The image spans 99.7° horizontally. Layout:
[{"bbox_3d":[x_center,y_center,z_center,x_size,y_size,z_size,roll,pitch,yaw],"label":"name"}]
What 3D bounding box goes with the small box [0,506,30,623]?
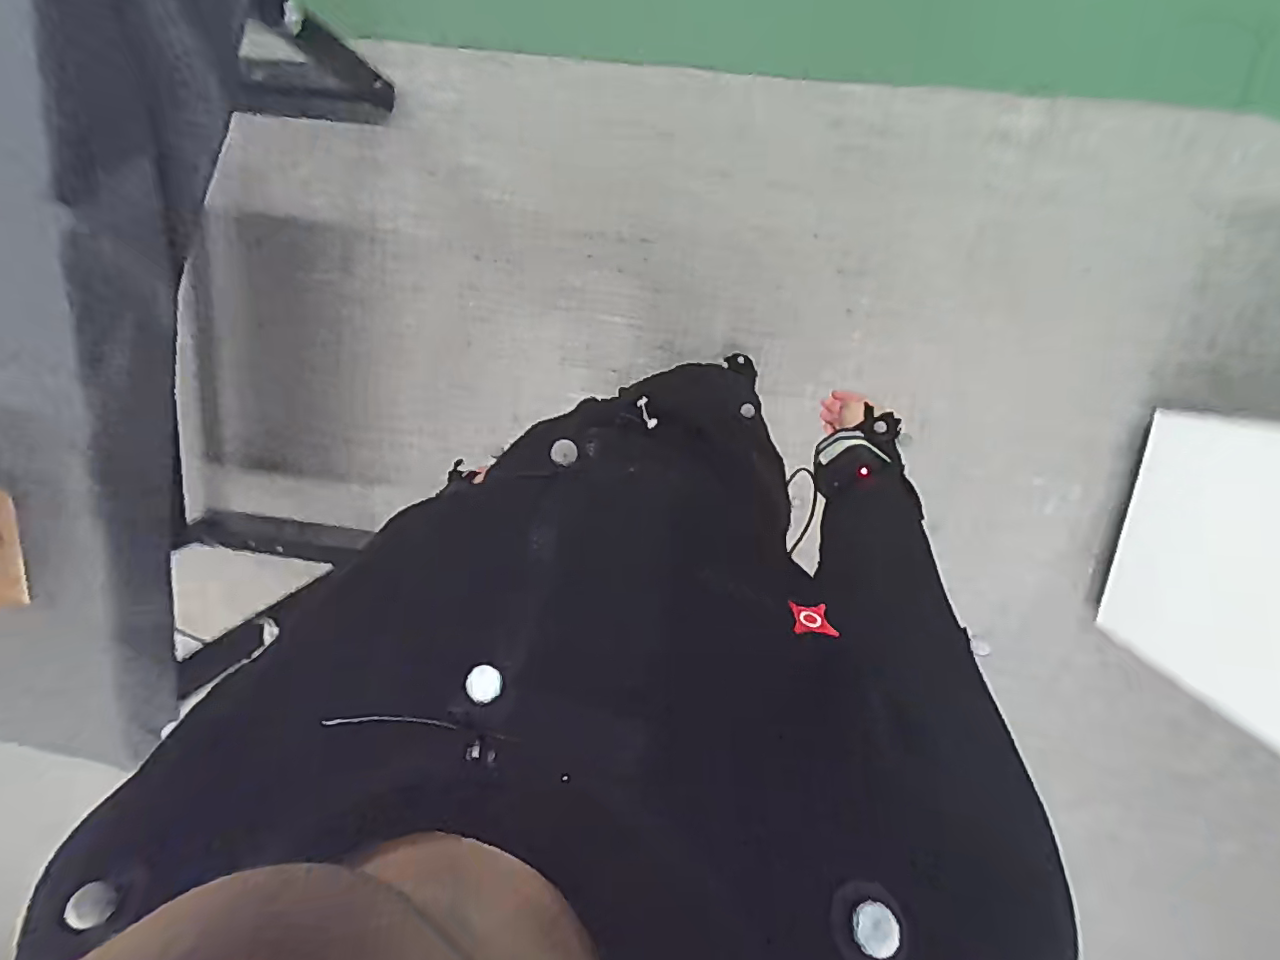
[{"bbox_3d":[-0.934,0.121,0.666,0.179,0.176,0.168,7,103,4],"label":"small box"}]
